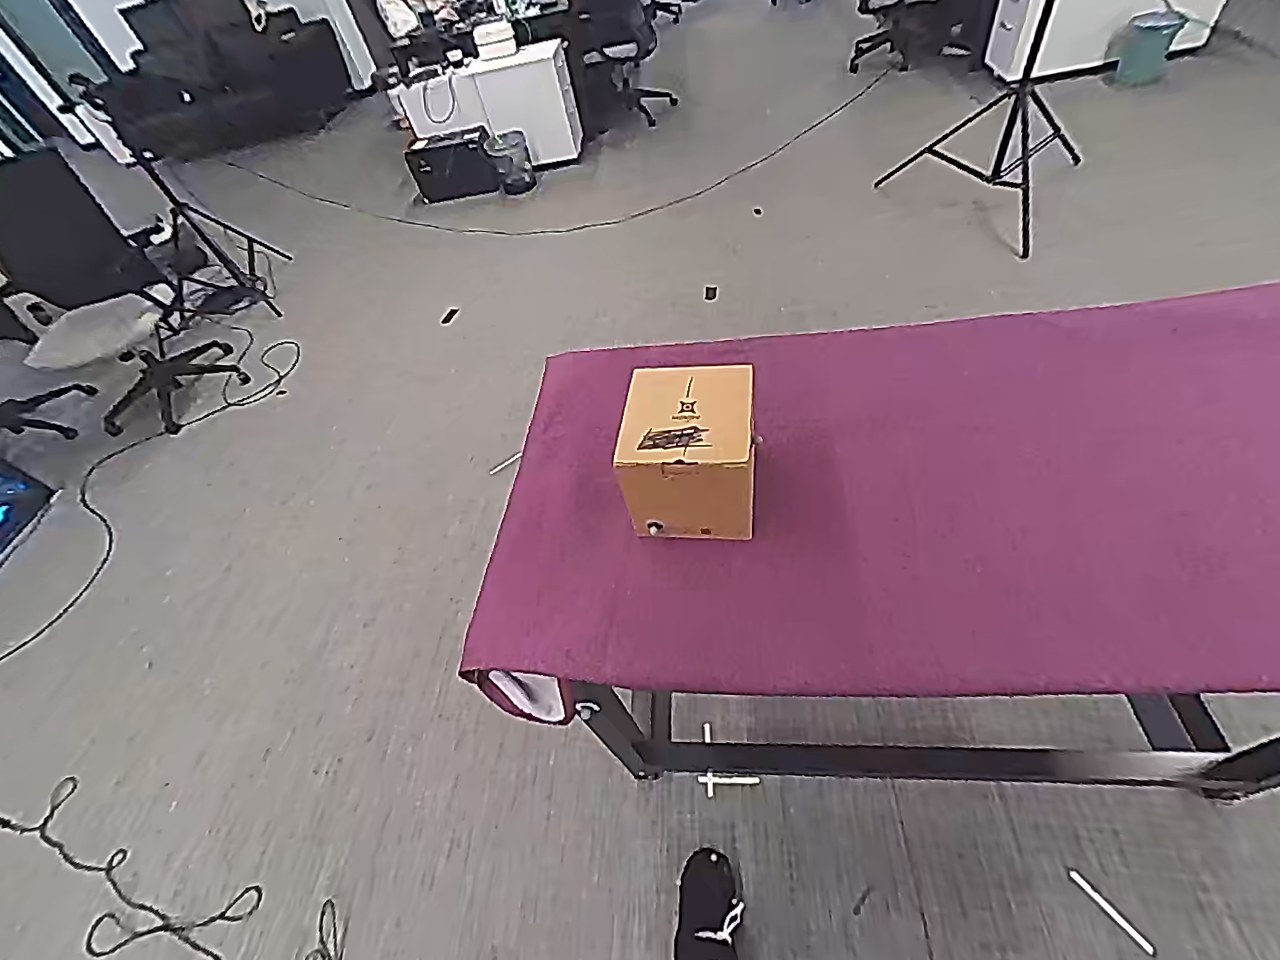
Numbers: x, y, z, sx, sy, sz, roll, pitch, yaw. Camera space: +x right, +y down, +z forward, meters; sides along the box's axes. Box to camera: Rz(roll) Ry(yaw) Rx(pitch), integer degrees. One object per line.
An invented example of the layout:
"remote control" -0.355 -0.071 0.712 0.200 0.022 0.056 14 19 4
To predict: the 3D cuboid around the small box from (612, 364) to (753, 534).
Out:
"small box" 0.070 -0.039 0.755 0.168 0.176 0.179 1 52 13
